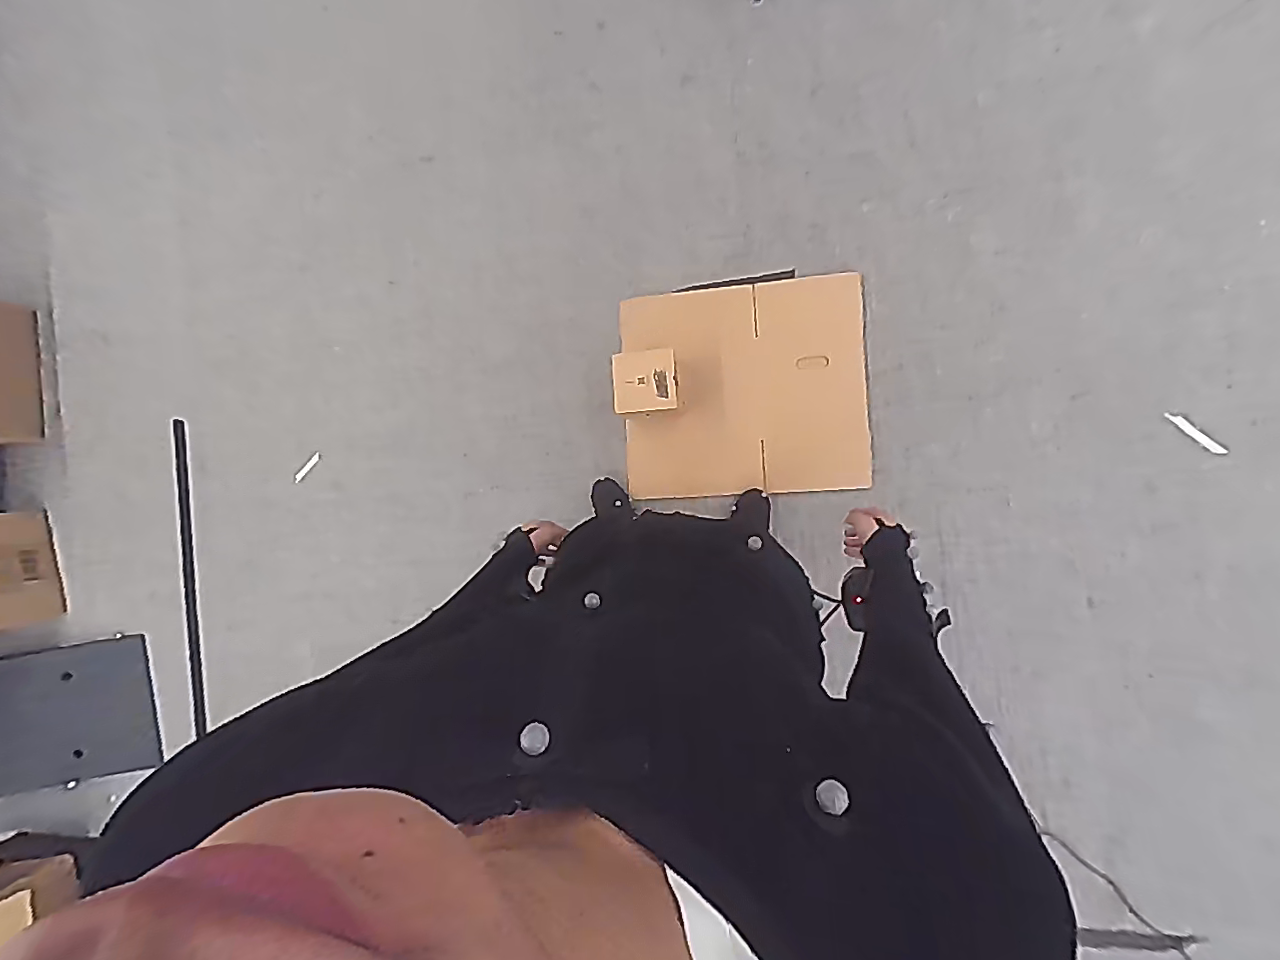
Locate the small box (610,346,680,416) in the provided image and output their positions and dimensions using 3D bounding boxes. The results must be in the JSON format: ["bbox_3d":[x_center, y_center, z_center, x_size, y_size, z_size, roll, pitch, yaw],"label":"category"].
[{"bbox_3d":[0.019,-0.277,1.541,0.179,0.176,0.168,-3,90,11],"label":"small box"}]
